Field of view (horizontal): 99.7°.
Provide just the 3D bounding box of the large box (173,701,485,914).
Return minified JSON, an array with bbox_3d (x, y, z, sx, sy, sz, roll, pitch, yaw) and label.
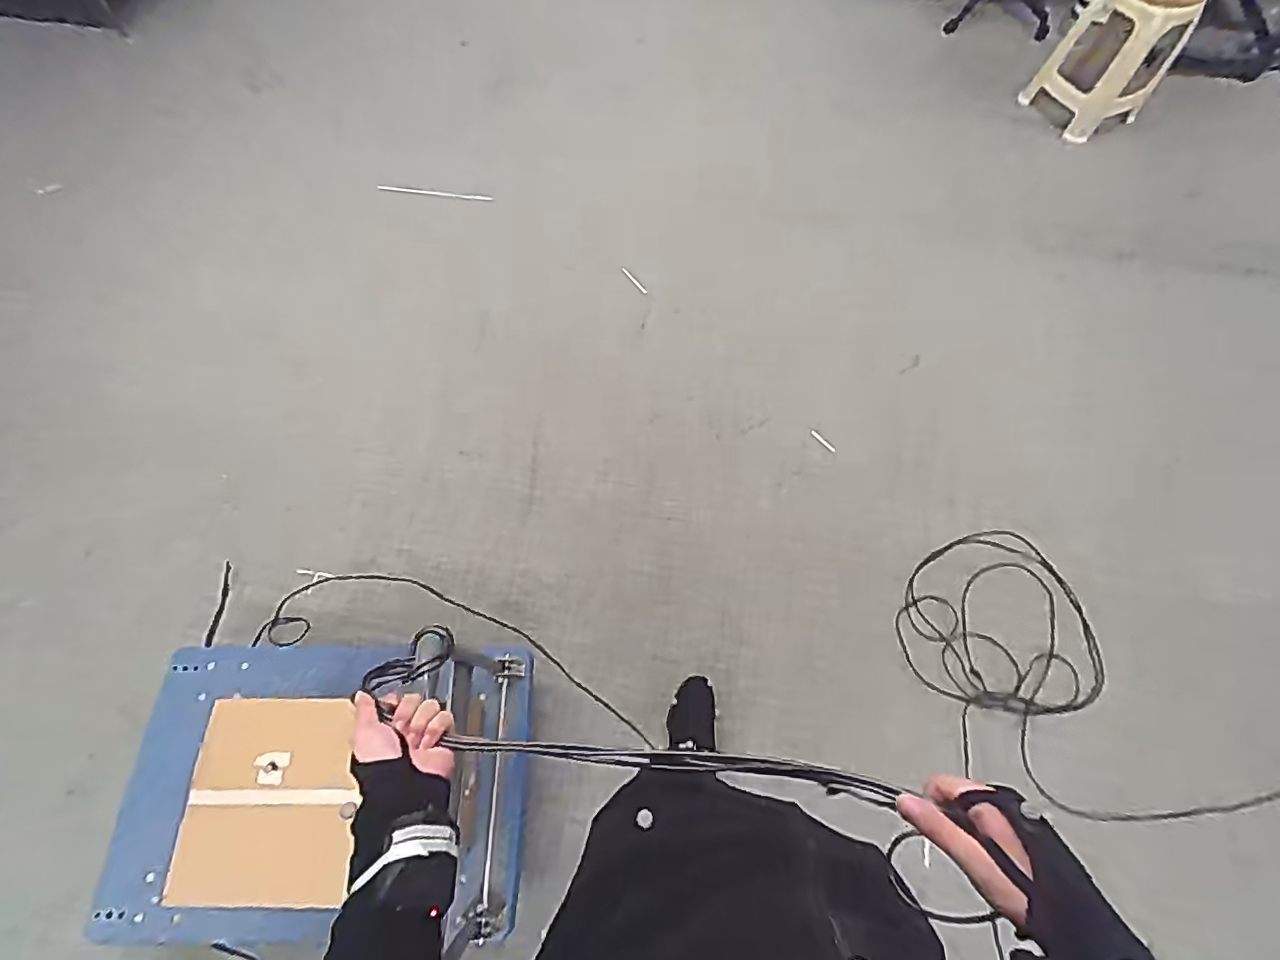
[{"bbox_3d":[-0.552,0.607,1.058,0.408,0.320,0.320,-1,66,2],"label":"large box"}]
